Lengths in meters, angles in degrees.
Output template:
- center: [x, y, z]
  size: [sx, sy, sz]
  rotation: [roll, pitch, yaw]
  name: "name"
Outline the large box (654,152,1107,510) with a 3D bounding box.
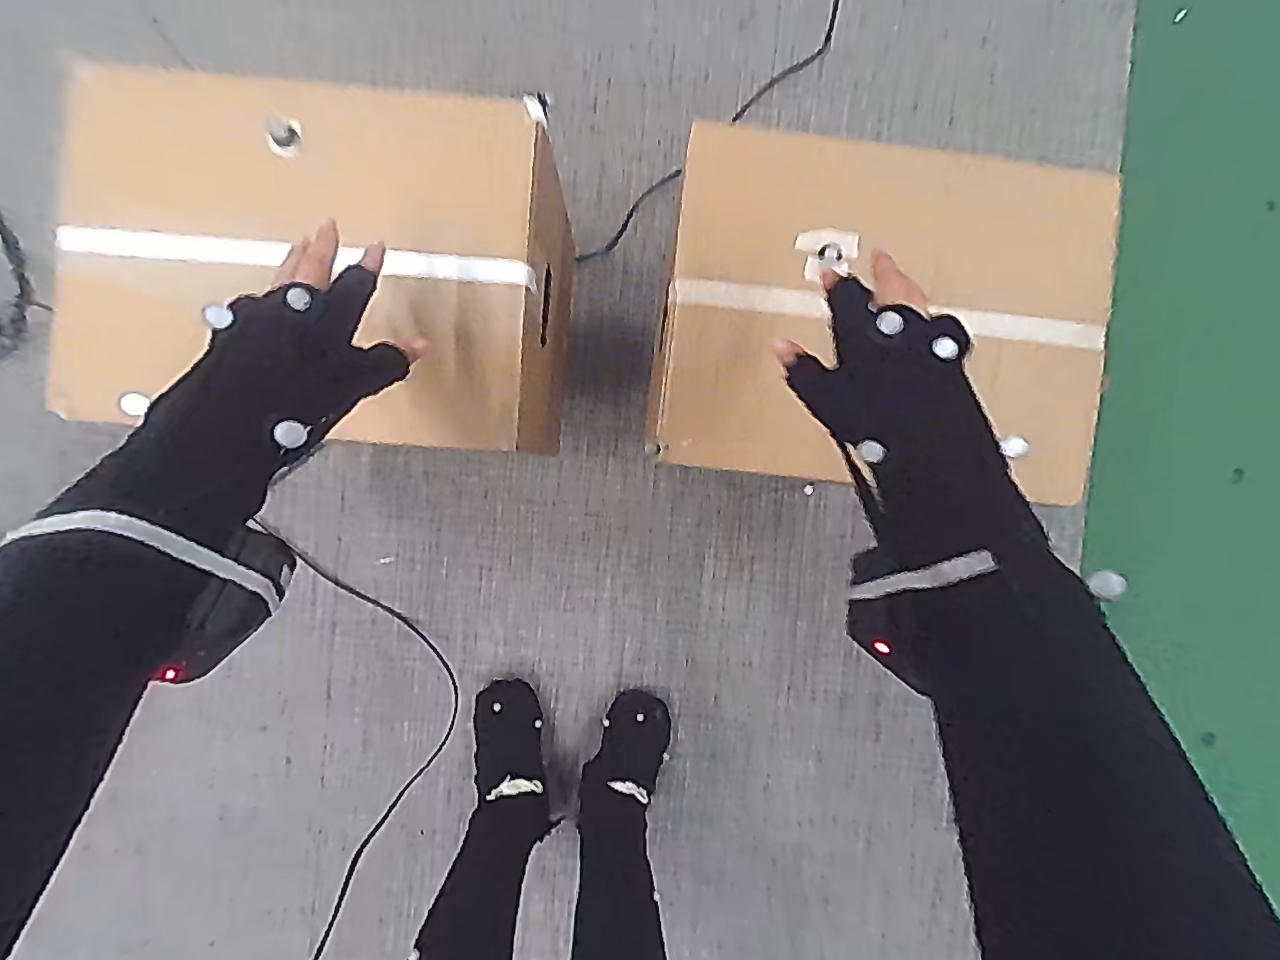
- center: [0.237, -0.148, 0.671]
  size: [0.408, 0.320, 0.320]
  rotation: [7, 91, -1]
  name: "large box"
